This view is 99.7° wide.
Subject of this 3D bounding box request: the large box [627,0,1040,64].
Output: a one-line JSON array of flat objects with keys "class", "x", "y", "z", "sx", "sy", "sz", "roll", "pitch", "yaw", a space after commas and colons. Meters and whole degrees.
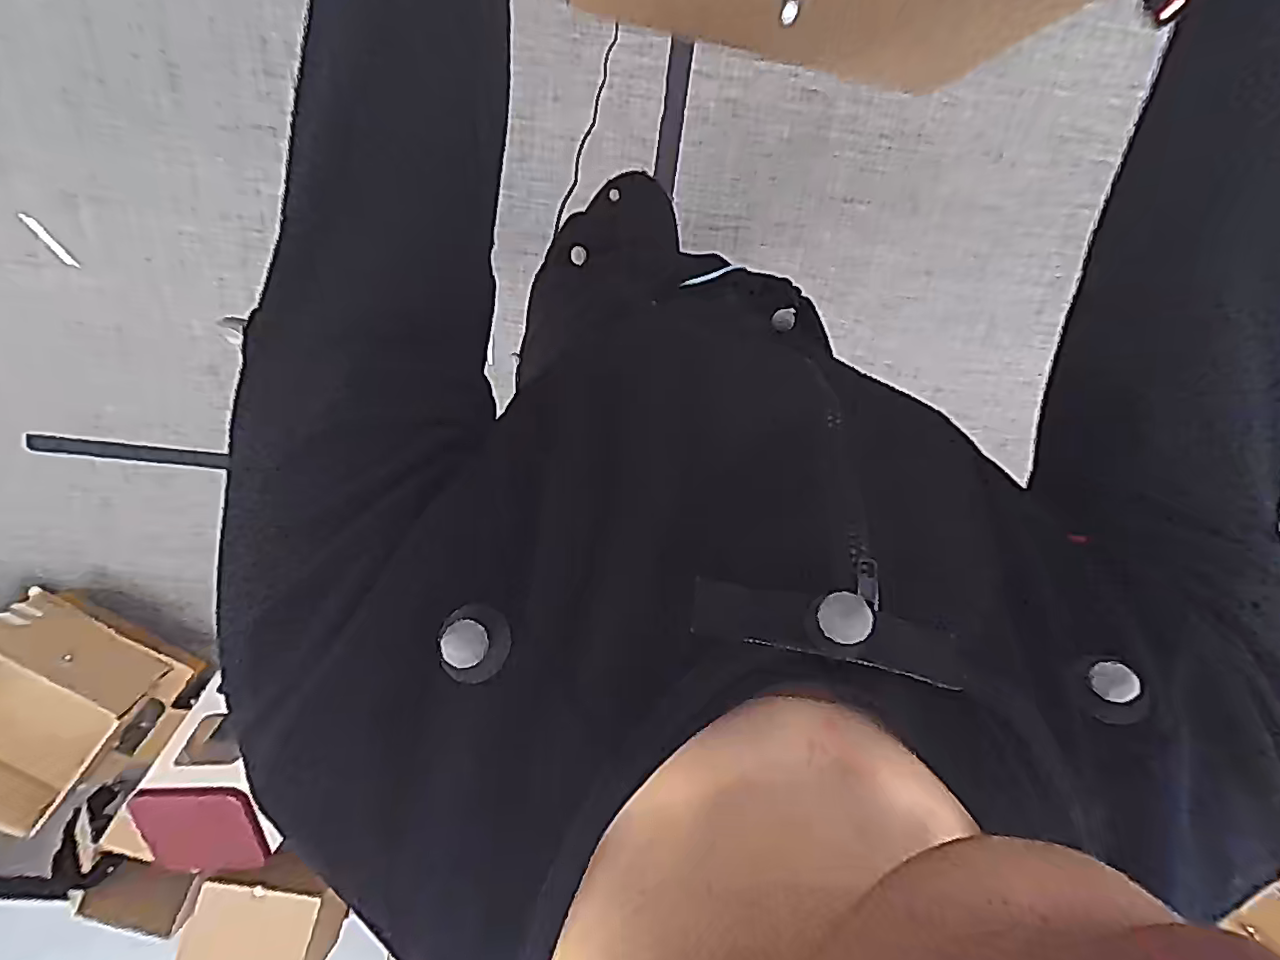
[{"class": "large box", "x": 0.158, "y": -0.560, "z": 0.384, "sx": 0.408, "sy": 0.320, "sz": 0.320, "roll": 10, "pitch": 111, "yaw": -4}]
